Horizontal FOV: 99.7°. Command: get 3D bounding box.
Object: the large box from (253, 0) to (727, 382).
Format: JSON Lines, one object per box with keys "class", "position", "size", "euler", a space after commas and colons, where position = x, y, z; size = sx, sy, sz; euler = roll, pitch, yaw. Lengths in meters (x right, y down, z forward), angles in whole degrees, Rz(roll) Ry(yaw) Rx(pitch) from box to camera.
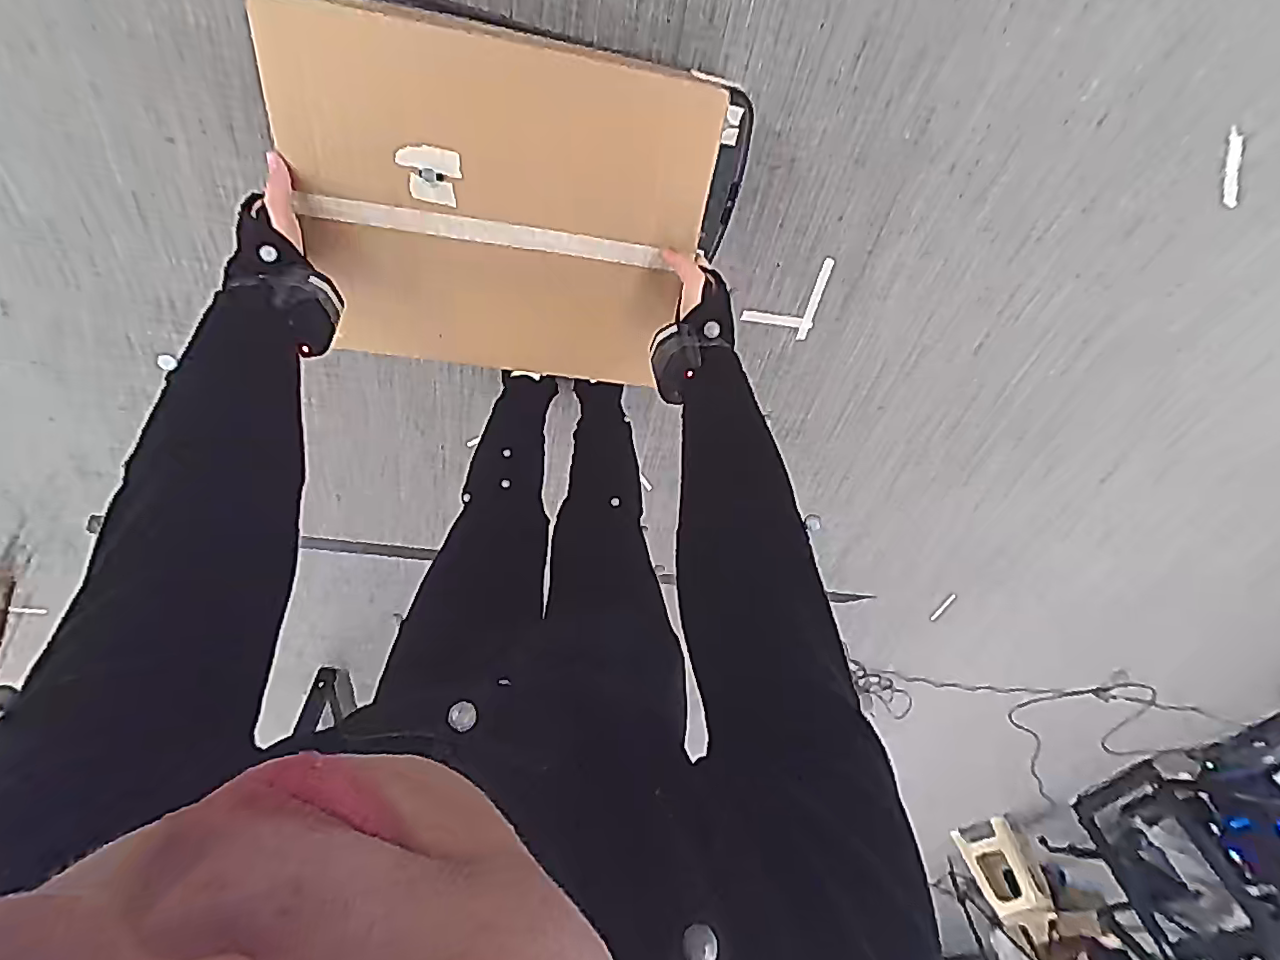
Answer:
{"class": "large box", "position": [-0.144, -0.348, 0.662], "size": [0.408, 0.320, 0.320], "euler": [6, 128, -8]}
